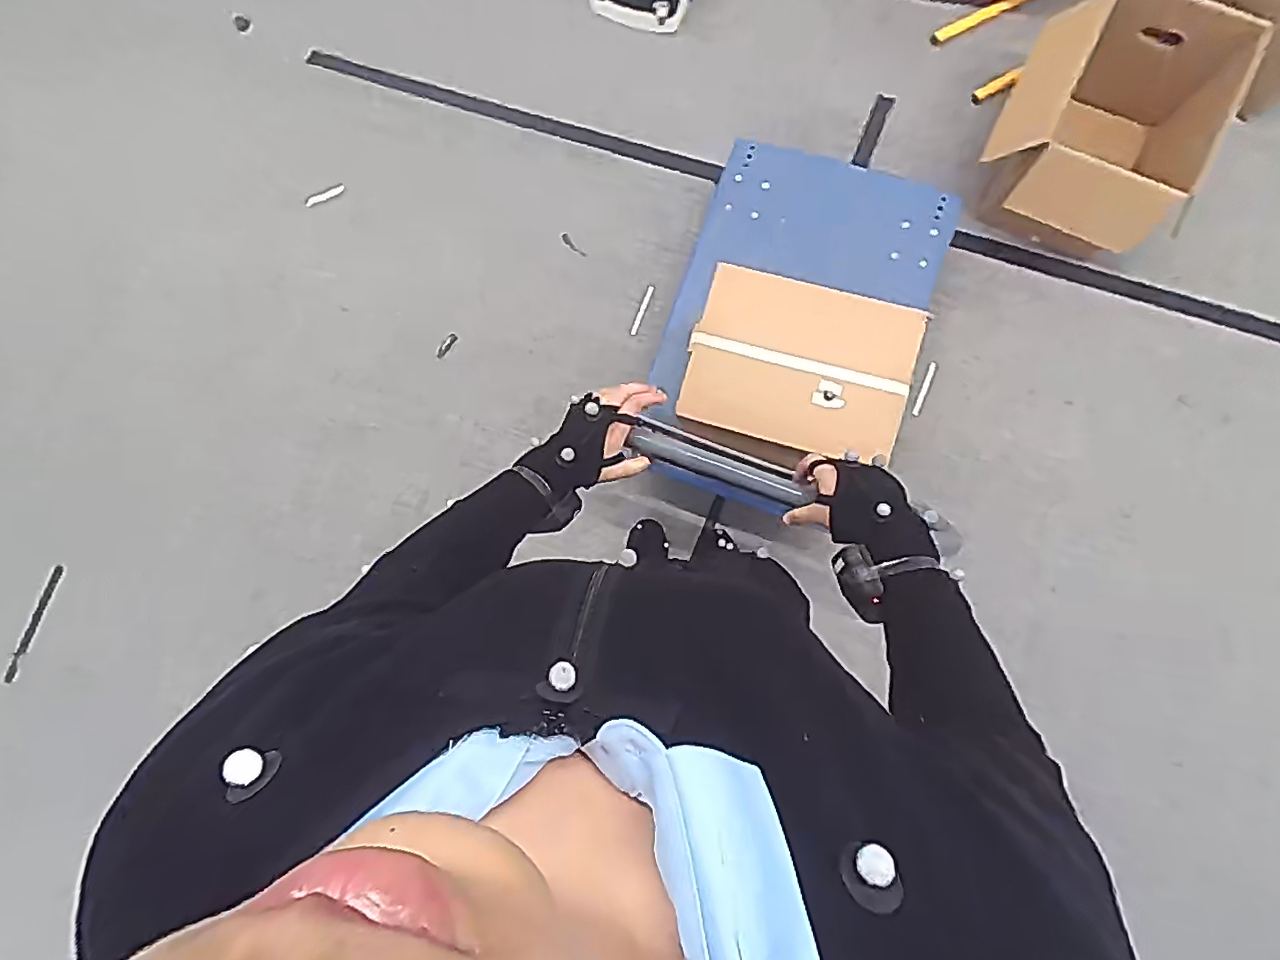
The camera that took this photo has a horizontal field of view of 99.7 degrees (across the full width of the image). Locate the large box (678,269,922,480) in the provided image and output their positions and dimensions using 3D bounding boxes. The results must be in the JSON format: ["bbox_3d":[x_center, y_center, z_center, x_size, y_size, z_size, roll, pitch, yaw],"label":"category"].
[{"bbox_3d":[0.313,-0.207,1.179,0.408,0.320,0.320,16,88,6],"label":"large box"}]
